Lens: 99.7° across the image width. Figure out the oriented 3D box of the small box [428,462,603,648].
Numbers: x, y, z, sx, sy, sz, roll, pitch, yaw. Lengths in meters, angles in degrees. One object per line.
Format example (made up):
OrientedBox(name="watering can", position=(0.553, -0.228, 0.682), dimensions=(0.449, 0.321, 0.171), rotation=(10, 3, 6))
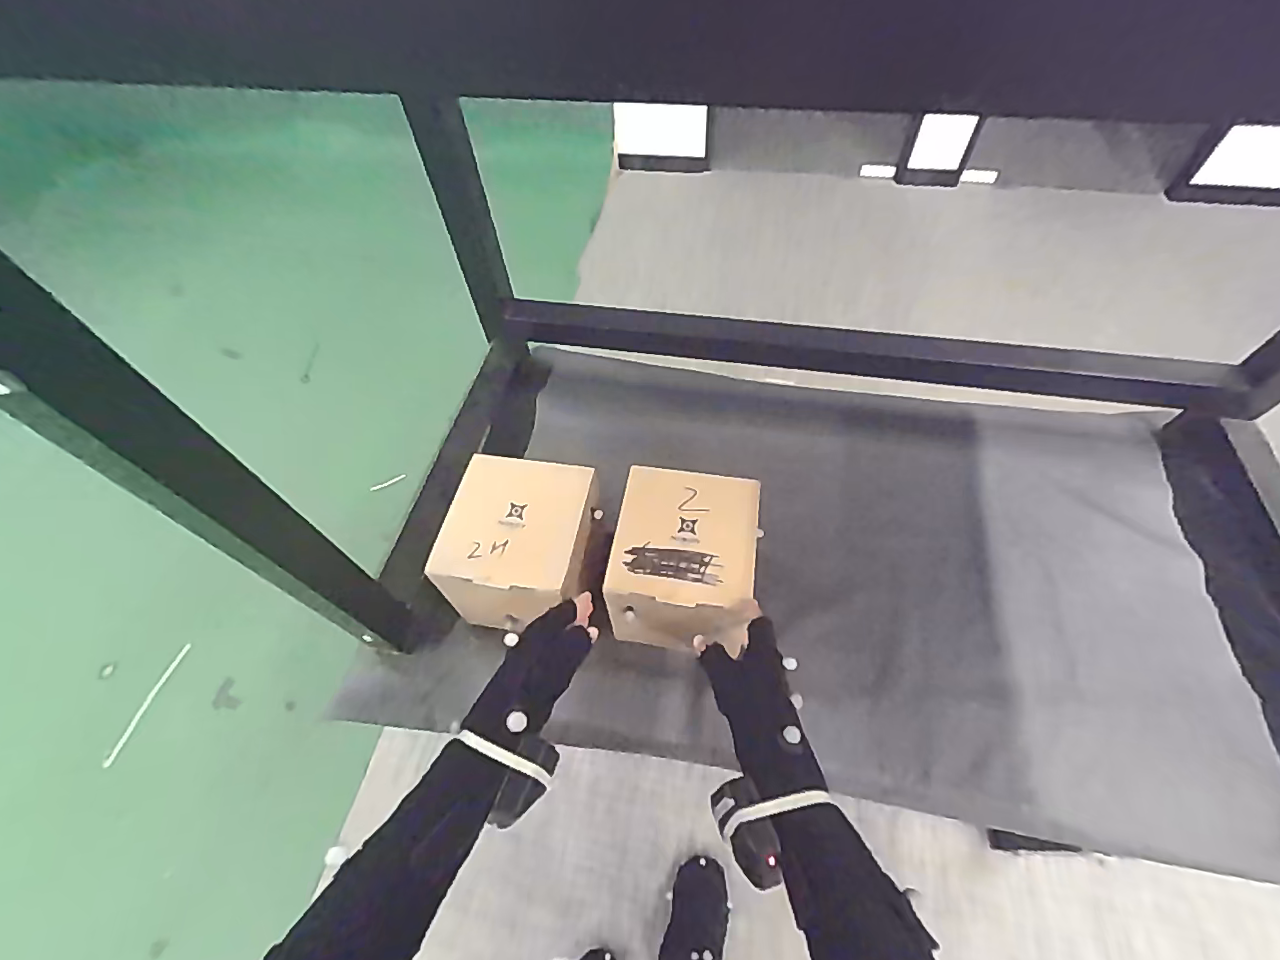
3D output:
OrientedBox(name="small box", position=(-0.148, 0.102, 0.720), dimensions=(0.168, 0.176, 0.179), rotation=(7, 56, 7))
